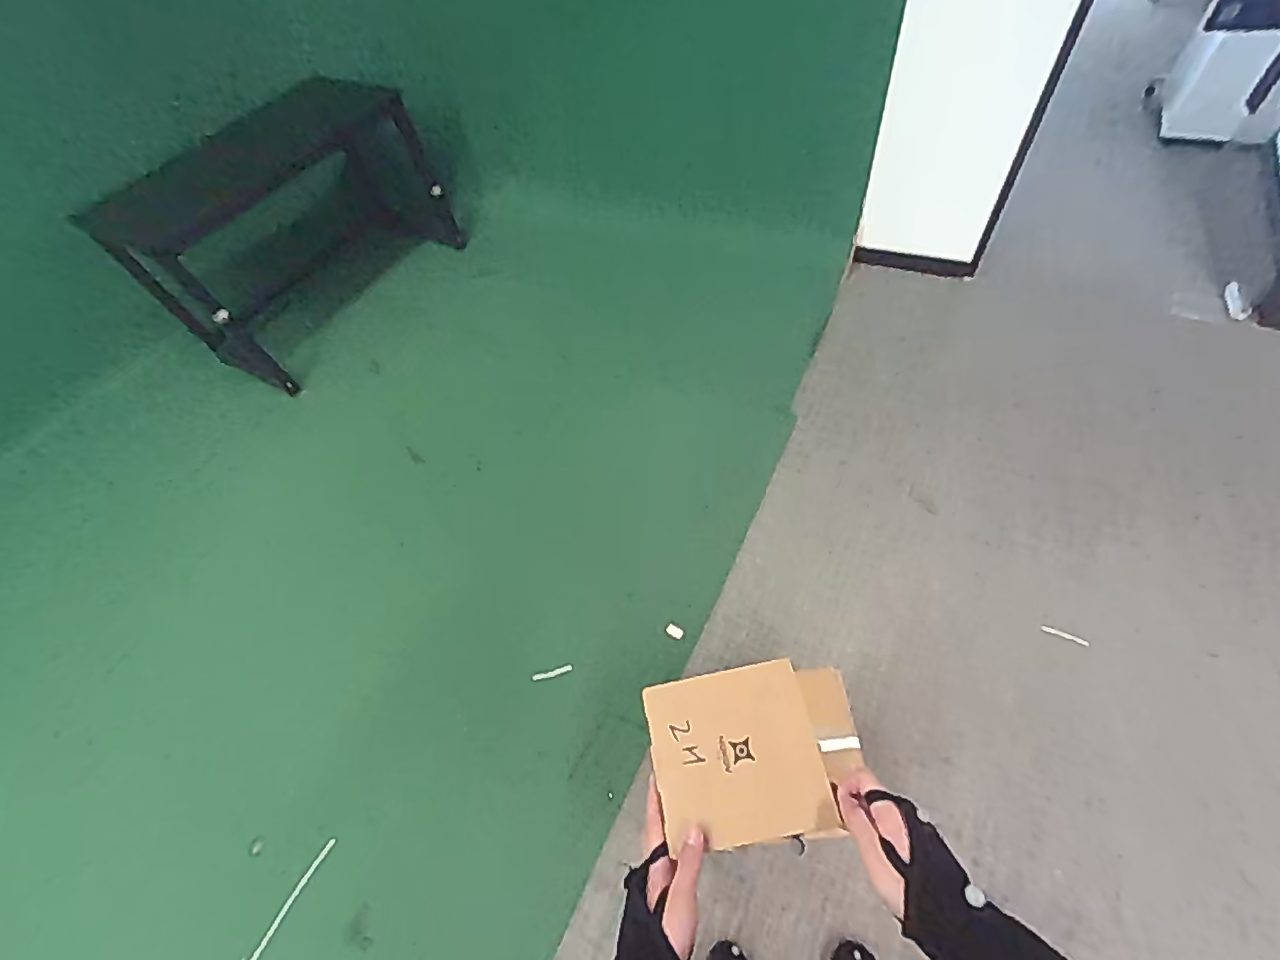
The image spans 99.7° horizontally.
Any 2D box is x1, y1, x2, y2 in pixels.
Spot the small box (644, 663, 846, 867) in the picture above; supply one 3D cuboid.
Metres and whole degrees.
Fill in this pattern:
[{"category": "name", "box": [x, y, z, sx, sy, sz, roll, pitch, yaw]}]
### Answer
[{"category": "small box", "box": [0.112, 0.327, 0.626, 0.179, 0.176, 0.168, -13, 57, 2]}]
